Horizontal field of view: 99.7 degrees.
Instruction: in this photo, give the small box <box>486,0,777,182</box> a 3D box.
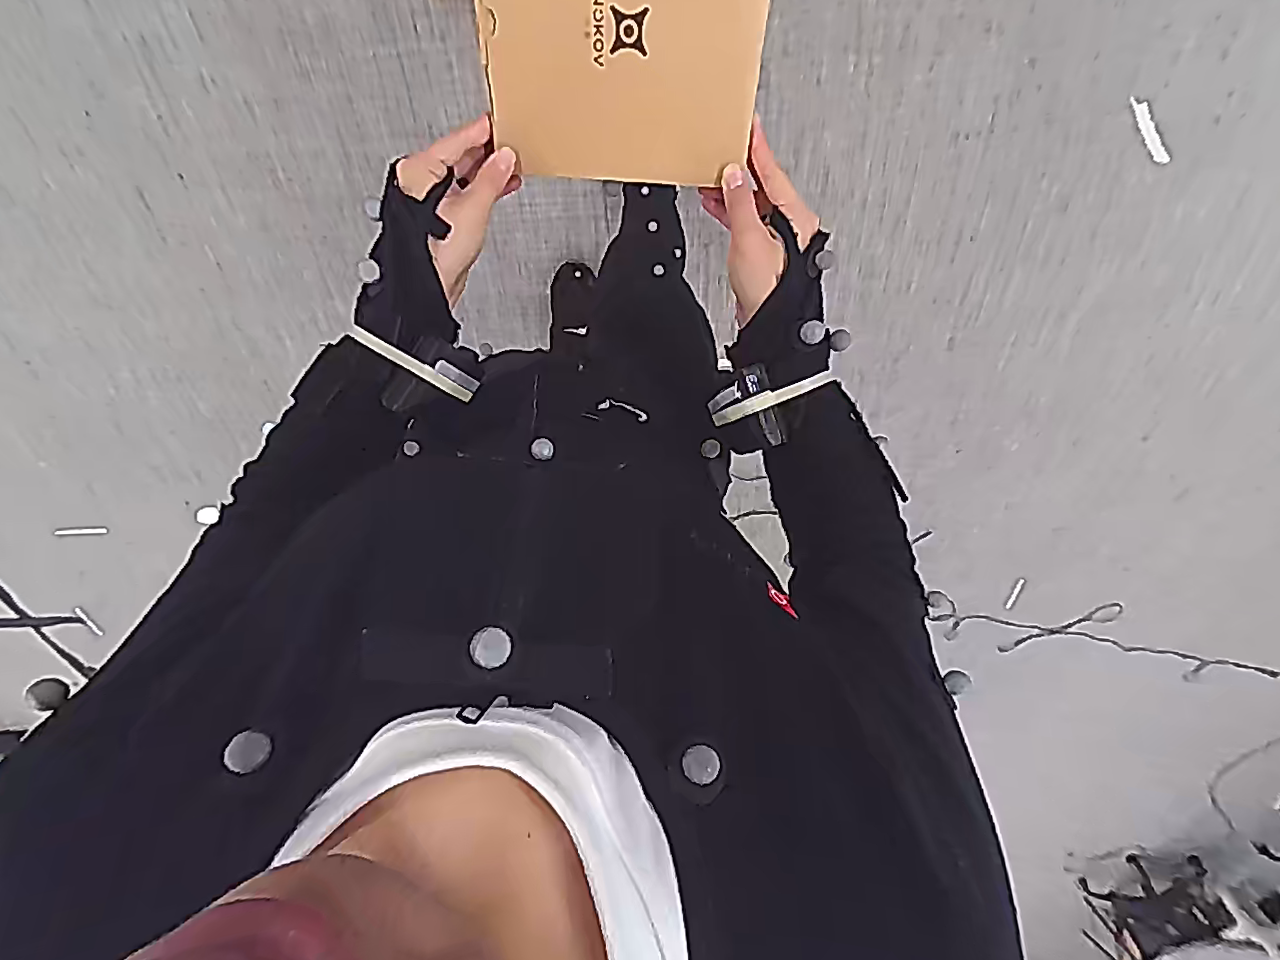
[{"bbox_3d":[-0.002,-0.328,0.388,0.179,0.176,0.168,5,129,2],"label":"small box"}]
